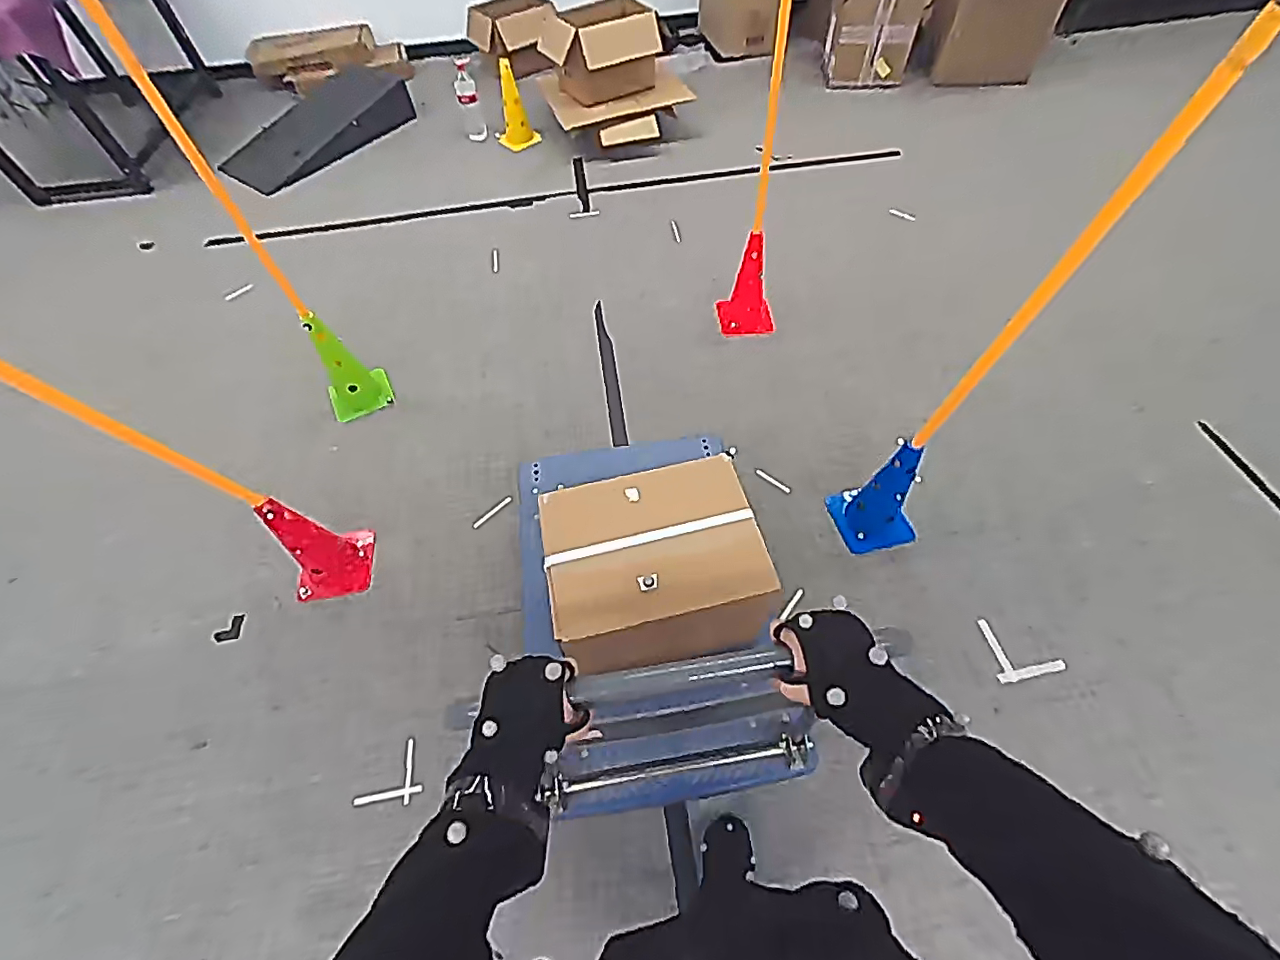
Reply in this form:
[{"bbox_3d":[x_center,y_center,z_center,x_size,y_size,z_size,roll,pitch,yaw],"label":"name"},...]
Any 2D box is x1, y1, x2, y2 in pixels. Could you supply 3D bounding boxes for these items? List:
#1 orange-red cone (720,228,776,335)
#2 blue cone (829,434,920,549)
[{"bbox_3d":[0.402,-0.717,1.914,0.199,0.360,0.198,-2,57,0],"label":"orange-red cone"},{"bbox_3d":[0.663,0.015,1.438,0.193,0.380,0.192,-12,56,-5],"label":"blue cone"}]
